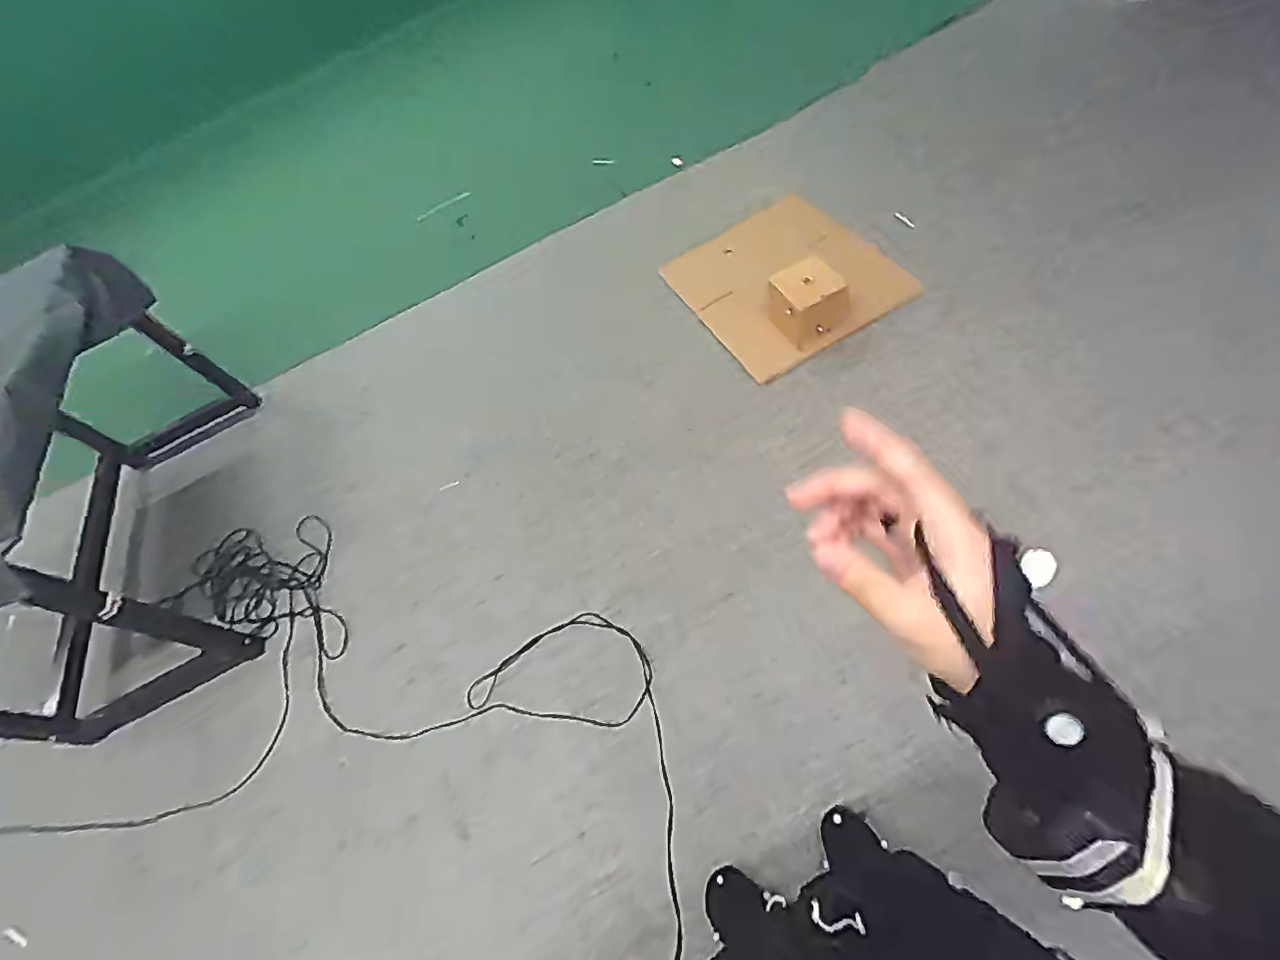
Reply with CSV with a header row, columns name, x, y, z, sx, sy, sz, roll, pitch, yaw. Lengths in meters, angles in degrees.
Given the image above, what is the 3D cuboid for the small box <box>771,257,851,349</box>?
name,x,y,z,sx,sy,sz,roll,pitch,yaw
small box,0.515,-0.535,1.648,0.168,0.176,0.179,-28,57,-2
